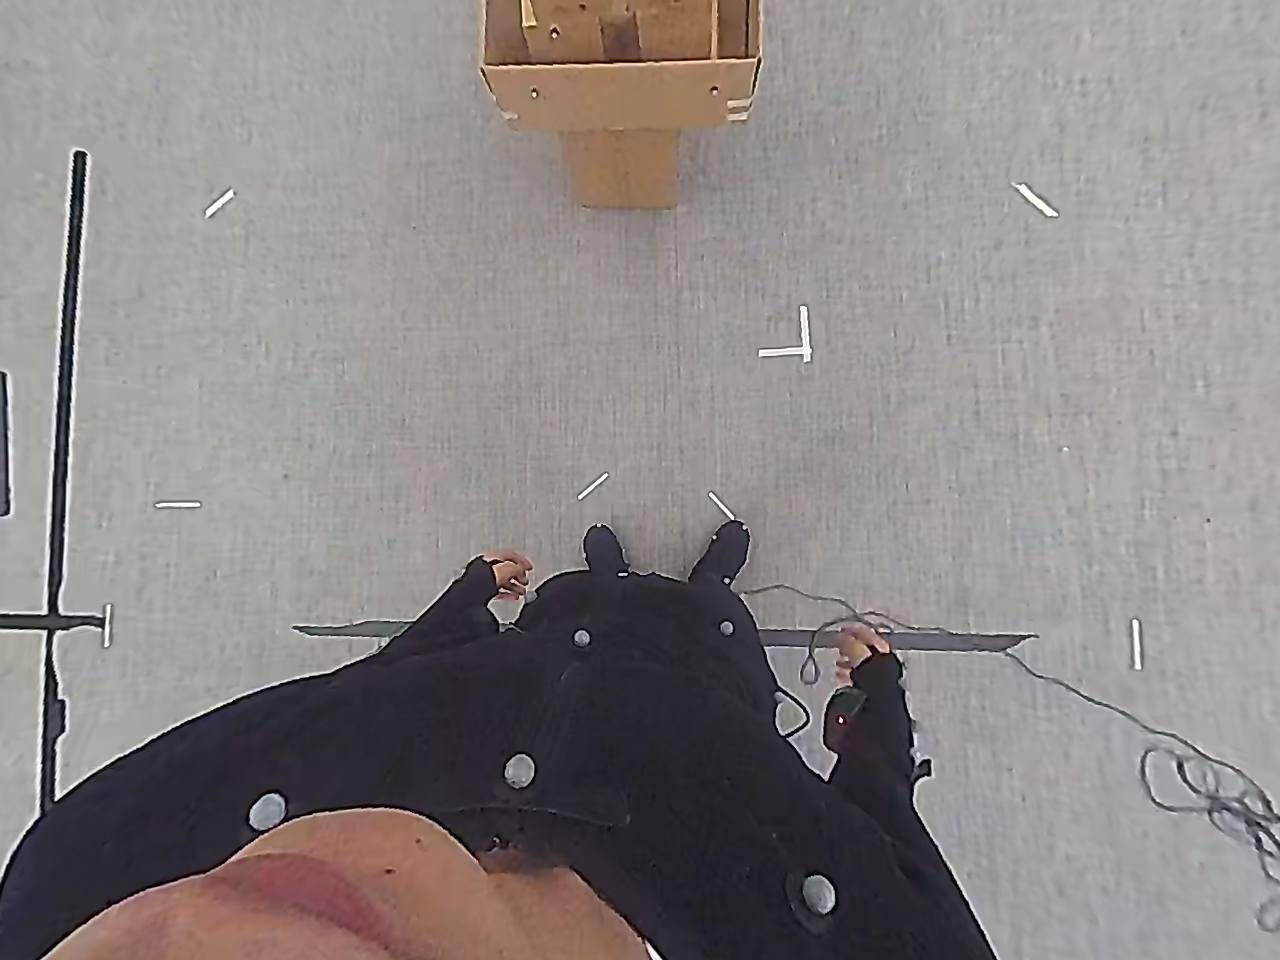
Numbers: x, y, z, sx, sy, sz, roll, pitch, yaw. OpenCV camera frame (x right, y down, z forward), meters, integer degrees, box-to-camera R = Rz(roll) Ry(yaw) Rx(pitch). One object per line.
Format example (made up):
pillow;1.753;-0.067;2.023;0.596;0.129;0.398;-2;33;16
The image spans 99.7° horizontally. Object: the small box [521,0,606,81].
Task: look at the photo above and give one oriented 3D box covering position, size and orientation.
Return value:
small box;-0.171;-1.057;1.227;0.168;0.176;0.179;-4;86;4
